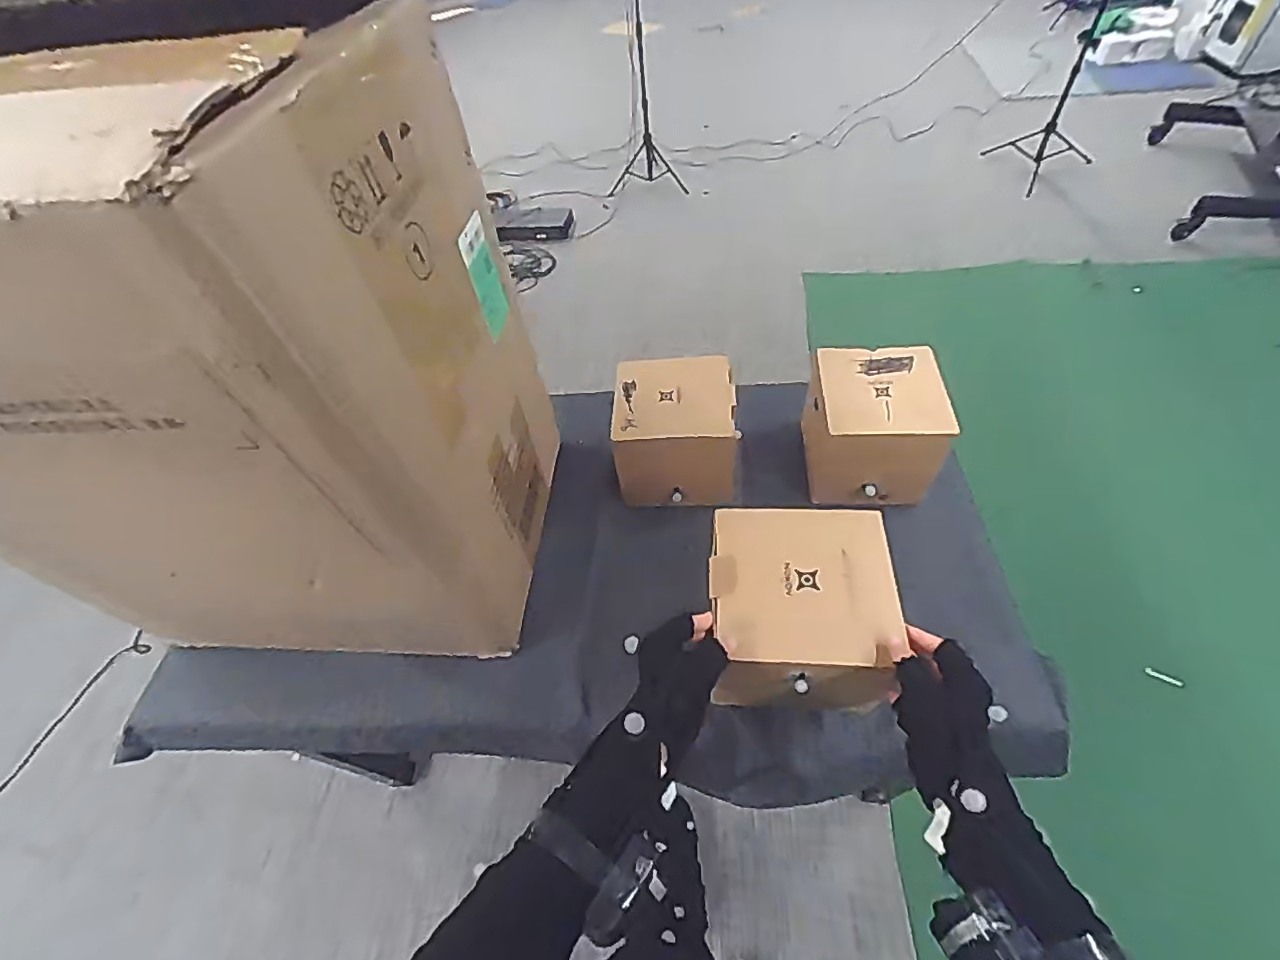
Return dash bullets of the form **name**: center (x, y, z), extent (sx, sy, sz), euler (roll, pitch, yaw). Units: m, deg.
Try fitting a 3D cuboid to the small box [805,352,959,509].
- **small box**: center (0.354, -0.075, 0.831), extent (0.168, 0.176, 0.179), euler (0, 53, 8)
